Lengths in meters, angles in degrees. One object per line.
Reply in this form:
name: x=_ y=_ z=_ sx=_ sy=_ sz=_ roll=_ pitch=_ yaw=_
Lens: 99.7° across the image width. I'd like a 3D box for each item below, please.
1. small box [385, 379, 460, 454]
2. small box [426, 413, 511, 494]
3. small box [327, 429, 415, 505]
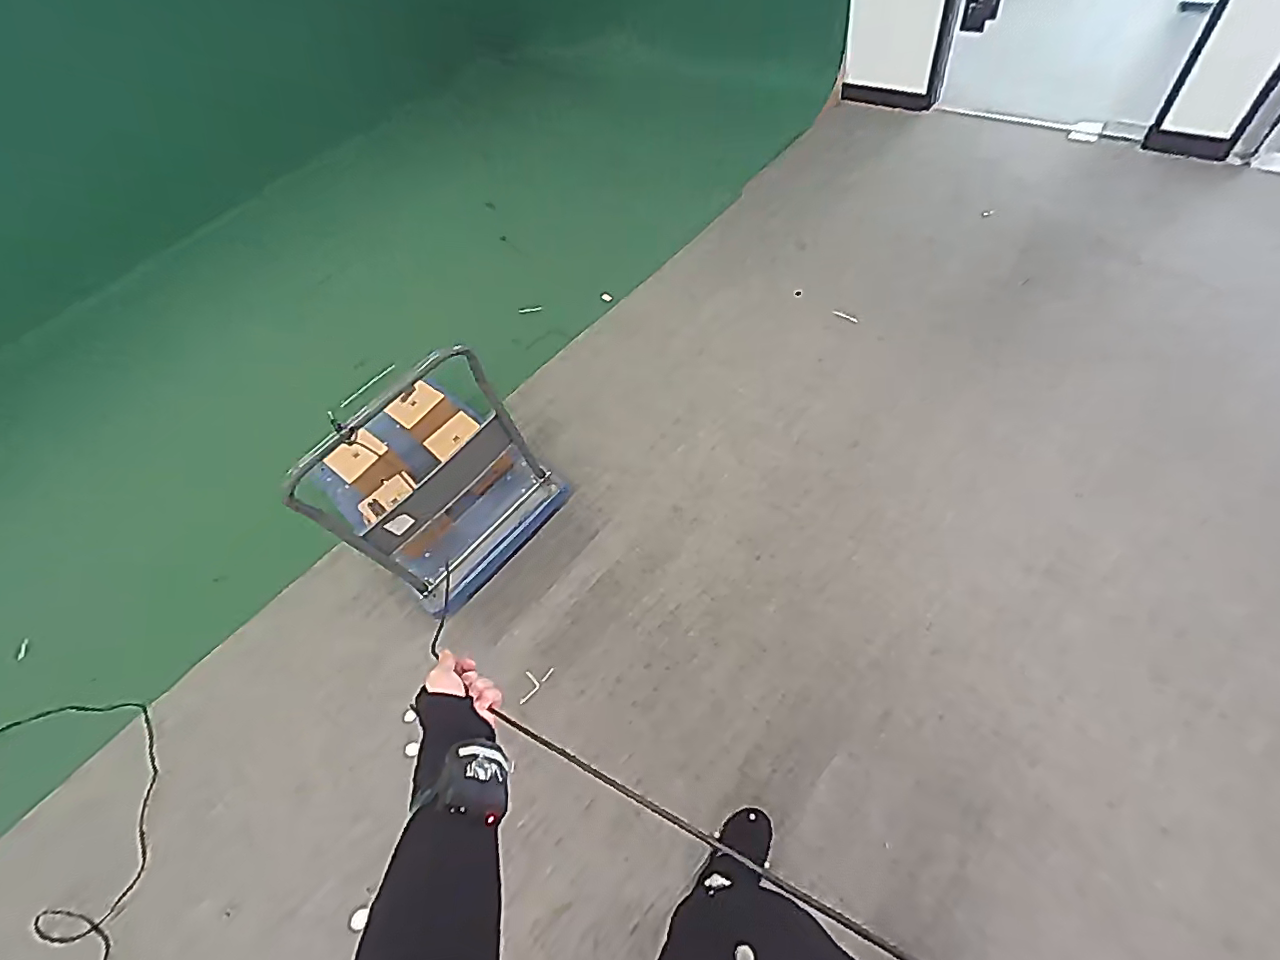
small box: x=-0.752 y=-0.219 z=1.915 sx=0.179 sy=0.176 sz=0.168 roll=31 pitch=71 yaw=27
small box: x=-0.560 y=-0.084 z=1.783 sx=0.179 sy=0.176 sz=0.168 roll=36 pitch=72 yaw=29
small box: x=-0.908 y=-0.037 z=1.838 sx=0.179 sy=0.176 sz=0.168 roll=31 pitch=69 yaw=28
